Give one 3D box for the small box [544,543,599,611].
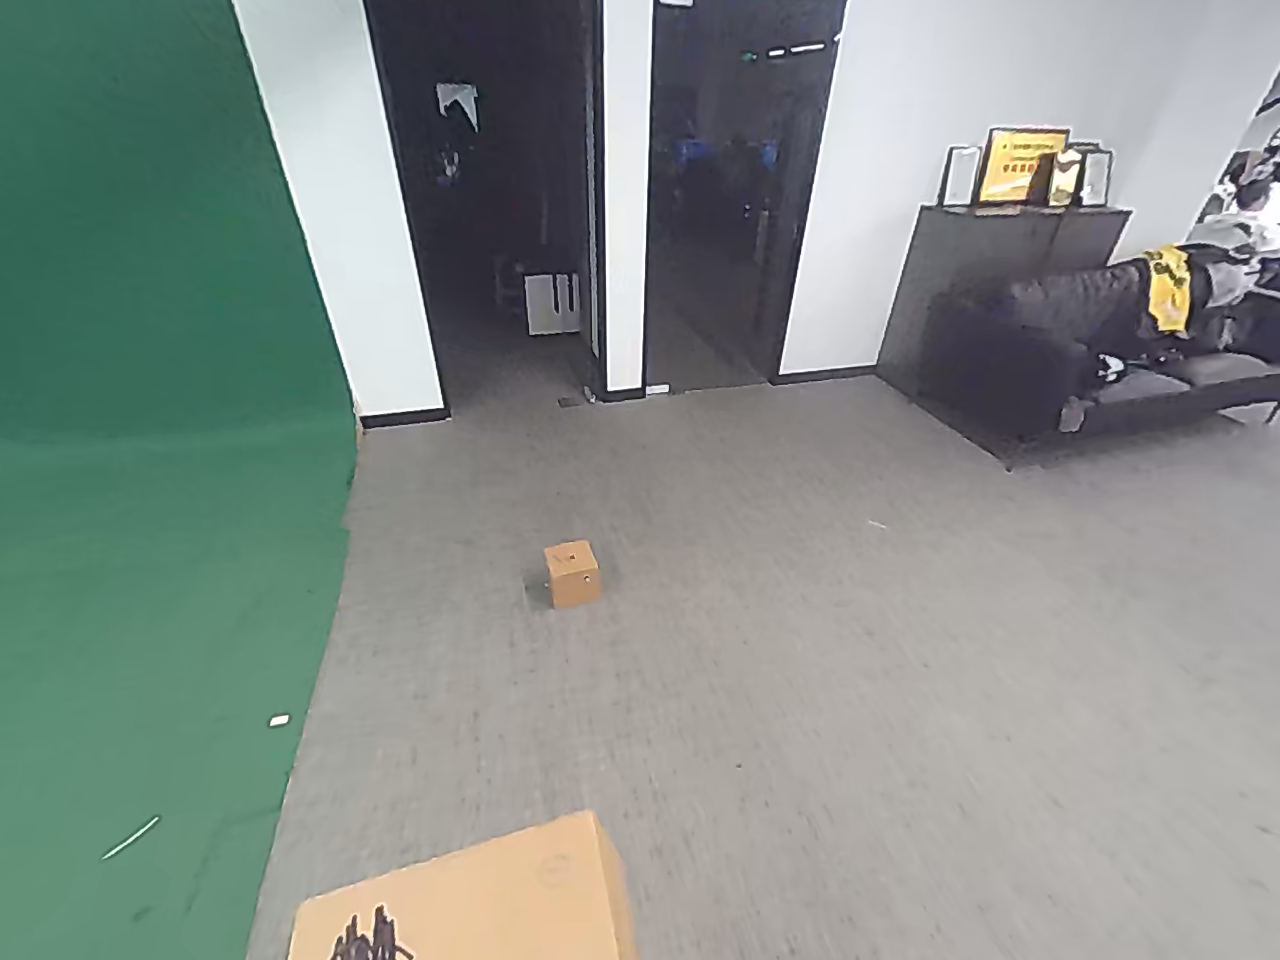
[{"bbox_3d":[-0.261,0.367,2.045,0.179,0.176,0.168,-10,36,-17],"label":"small box"}]
